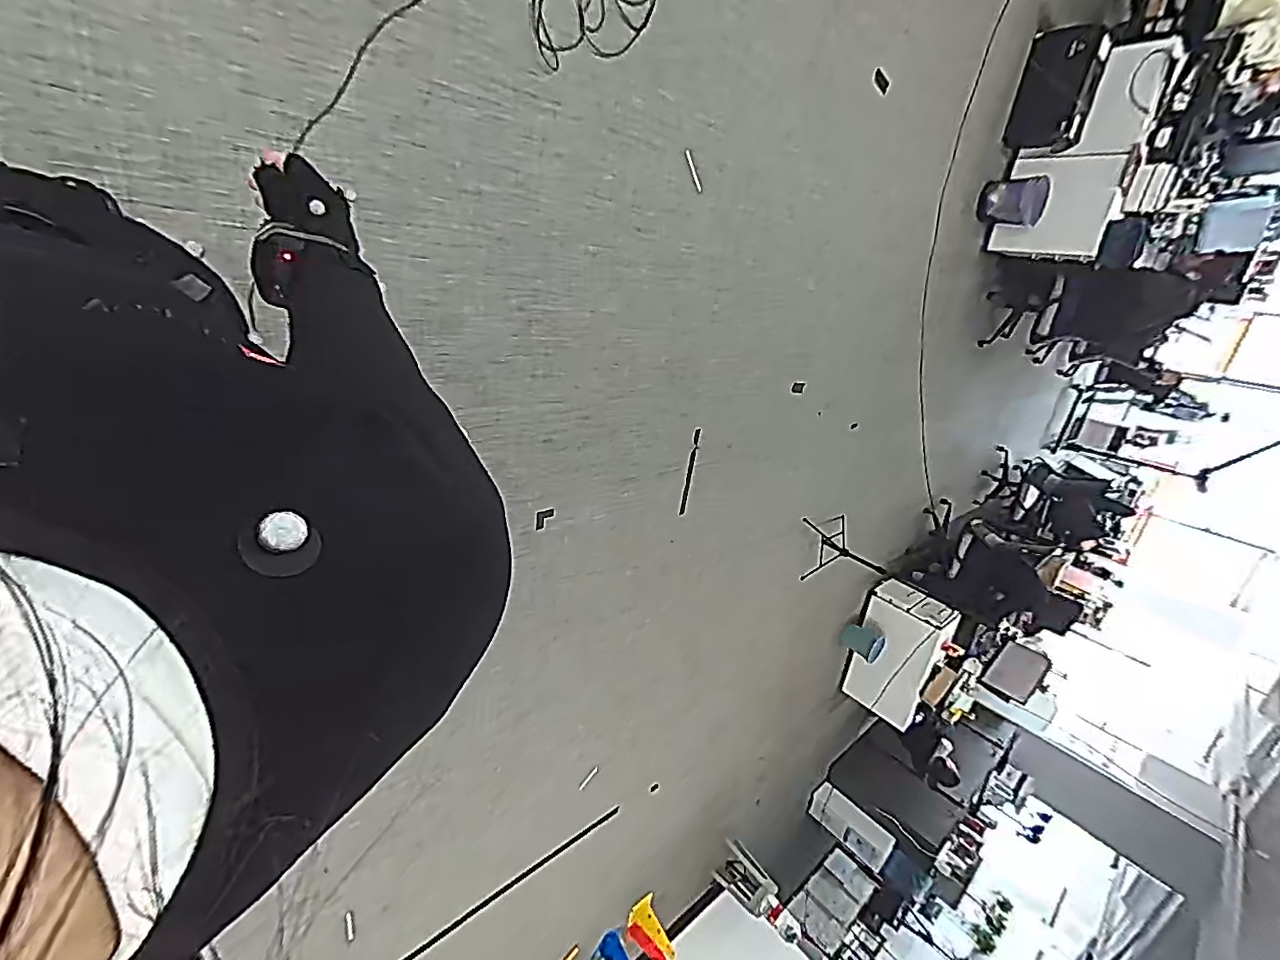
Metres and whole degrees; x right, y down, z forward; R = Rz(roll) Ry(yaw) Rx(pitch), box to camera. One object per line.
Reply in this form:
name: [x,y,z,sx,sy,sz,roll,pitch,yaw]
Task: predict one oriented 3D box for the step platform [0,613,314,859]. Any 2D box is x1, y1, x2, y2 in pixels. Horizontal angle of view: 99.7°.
step platform: [-1.135,0.560,1.221,0.684,0.204,0.286,-12,118,-39]
